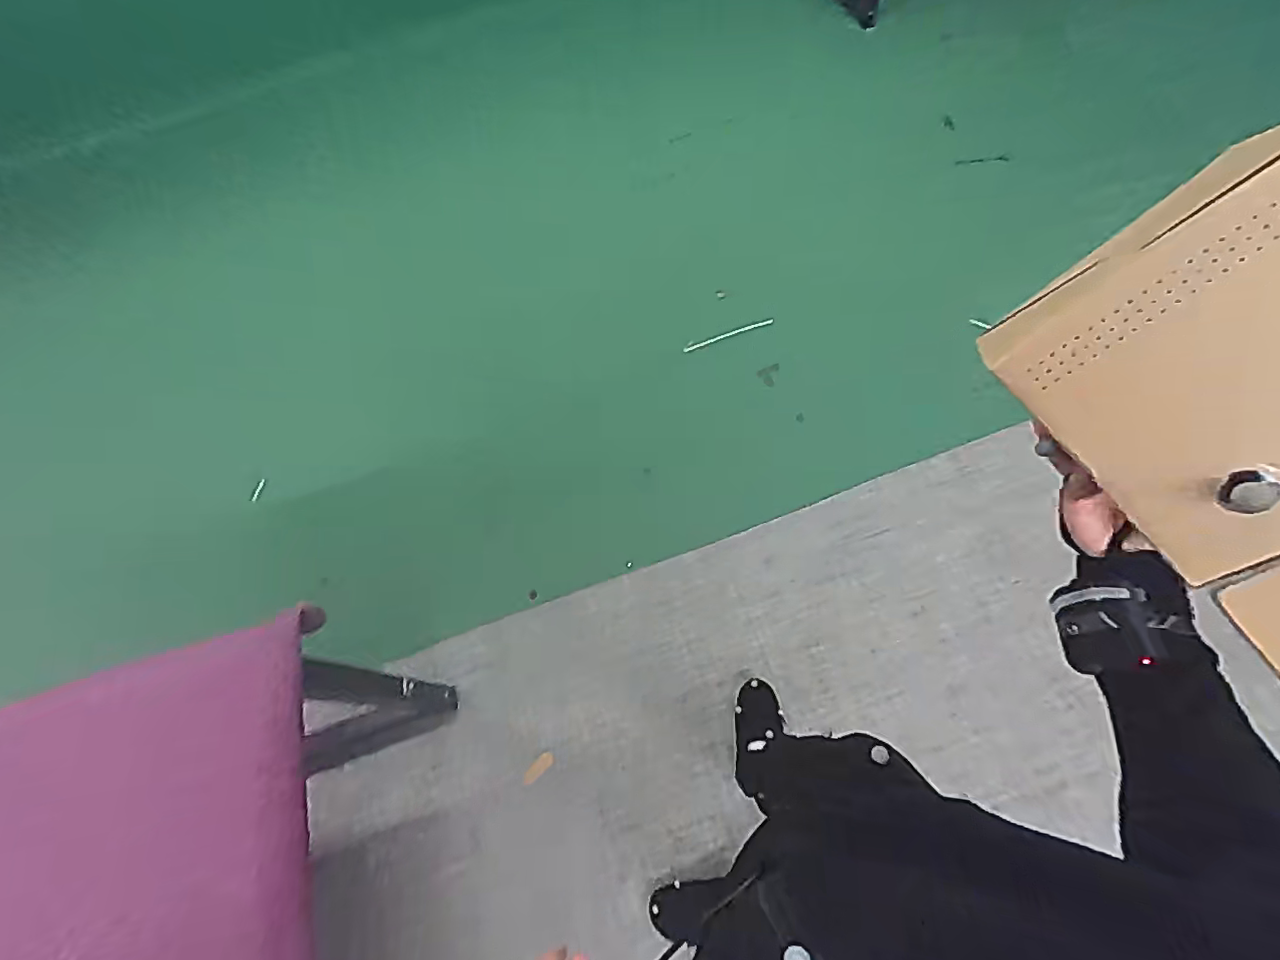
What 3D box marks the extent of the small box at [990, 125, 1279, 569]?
[{"bbox_3d":[0.347,-0.084,0.322,0.176,0.179,0.168,50,34,4],"label":"small box"}]
